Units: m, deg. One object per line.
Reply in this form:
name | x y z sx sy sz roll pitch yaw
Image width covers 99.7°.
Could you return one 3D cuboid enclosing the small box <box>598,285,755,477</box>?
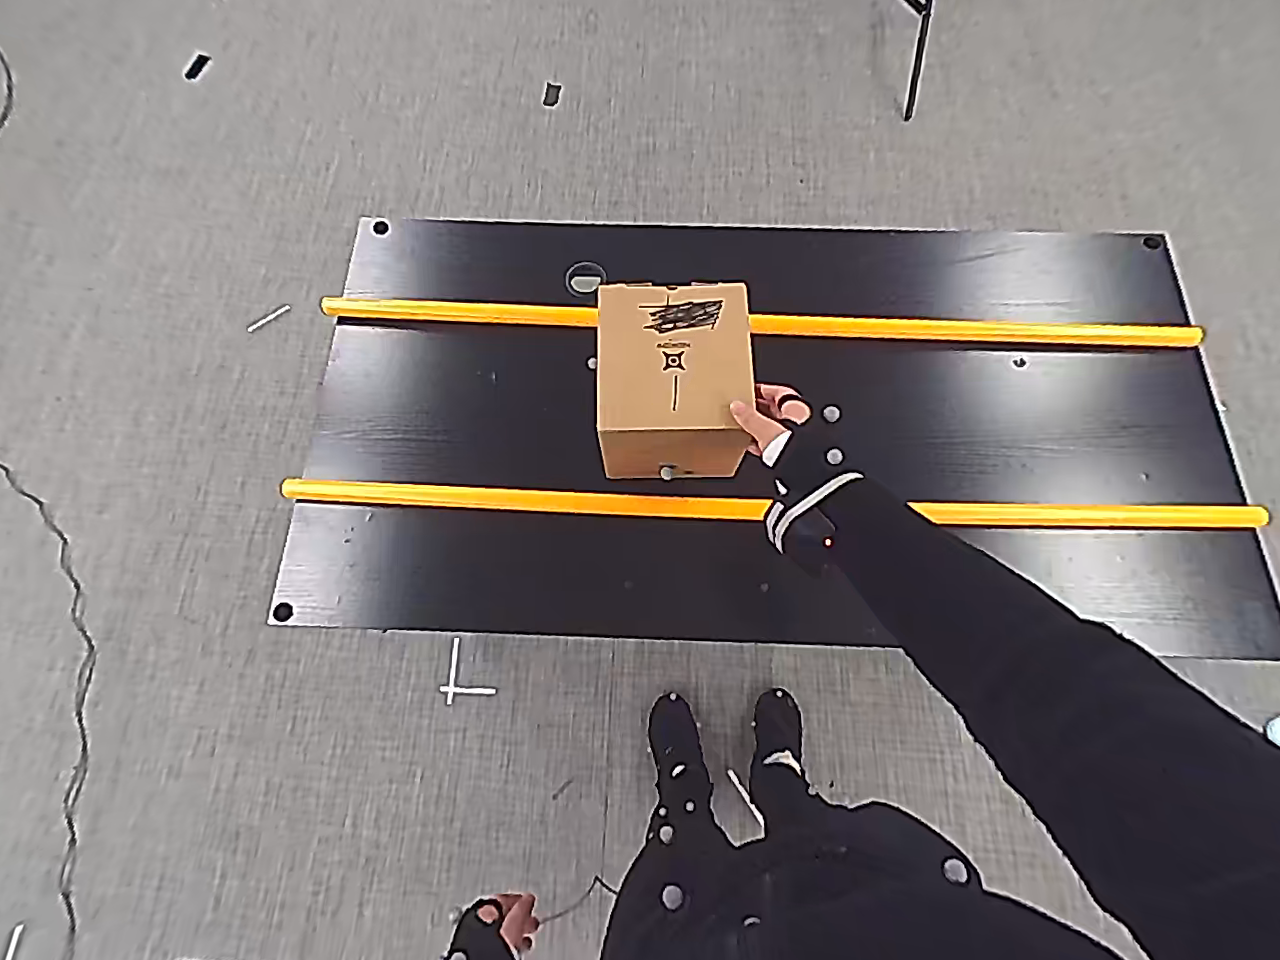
small box | 0.038 -0.112 0.657 0.168 0.176 0.179 -1 74 1
